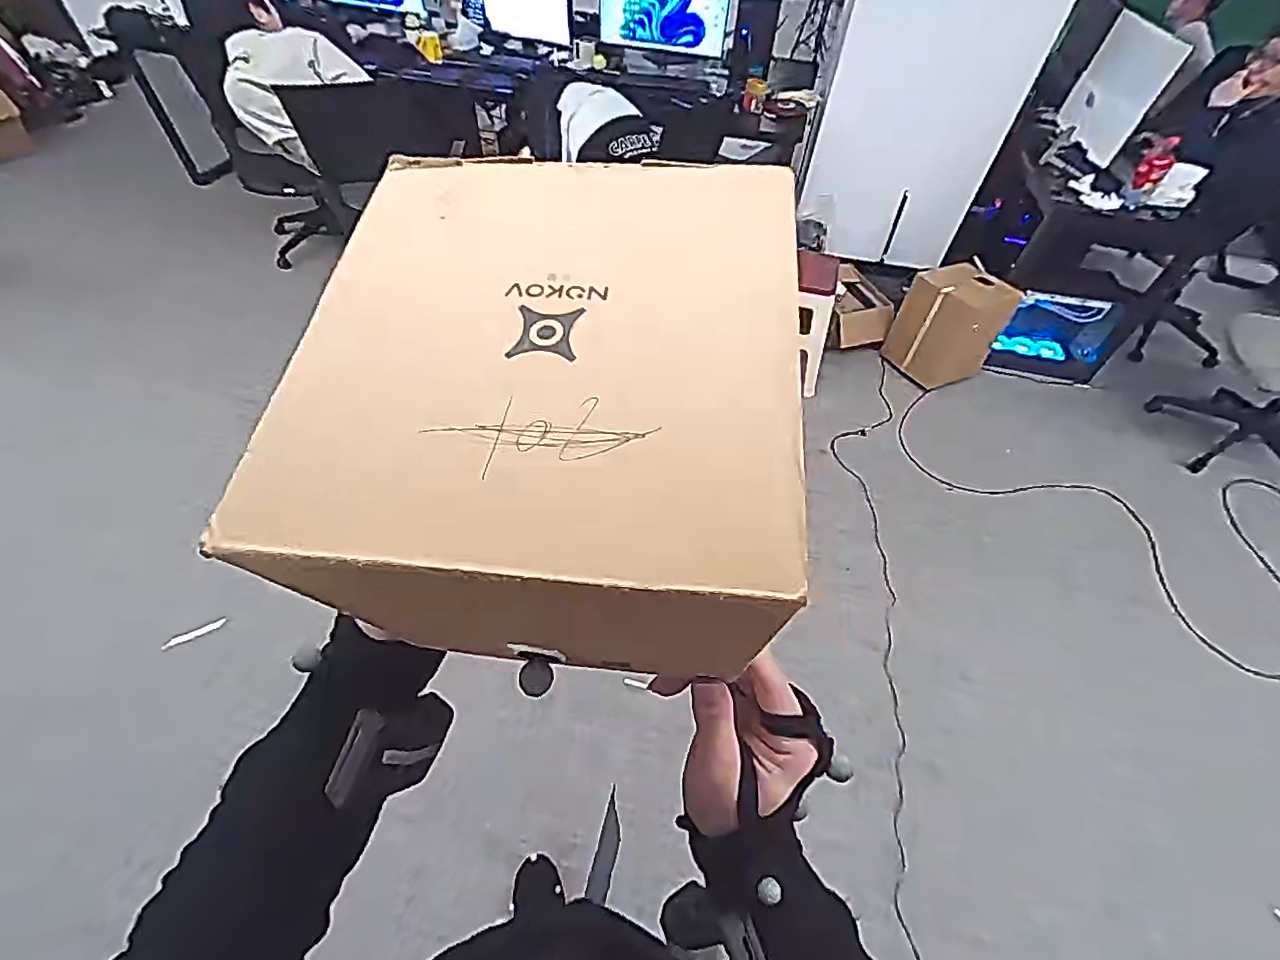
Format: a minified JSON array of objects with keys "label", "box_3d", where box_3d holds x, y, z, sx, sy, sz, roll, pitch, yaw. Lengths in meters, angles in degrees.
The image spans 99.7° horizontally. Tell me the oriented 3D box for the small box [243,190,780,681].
[{"label":"small box","box_3d":[-0.030,-0.010,0.266,0.168,0.176,0.179,3,64,5]}]
